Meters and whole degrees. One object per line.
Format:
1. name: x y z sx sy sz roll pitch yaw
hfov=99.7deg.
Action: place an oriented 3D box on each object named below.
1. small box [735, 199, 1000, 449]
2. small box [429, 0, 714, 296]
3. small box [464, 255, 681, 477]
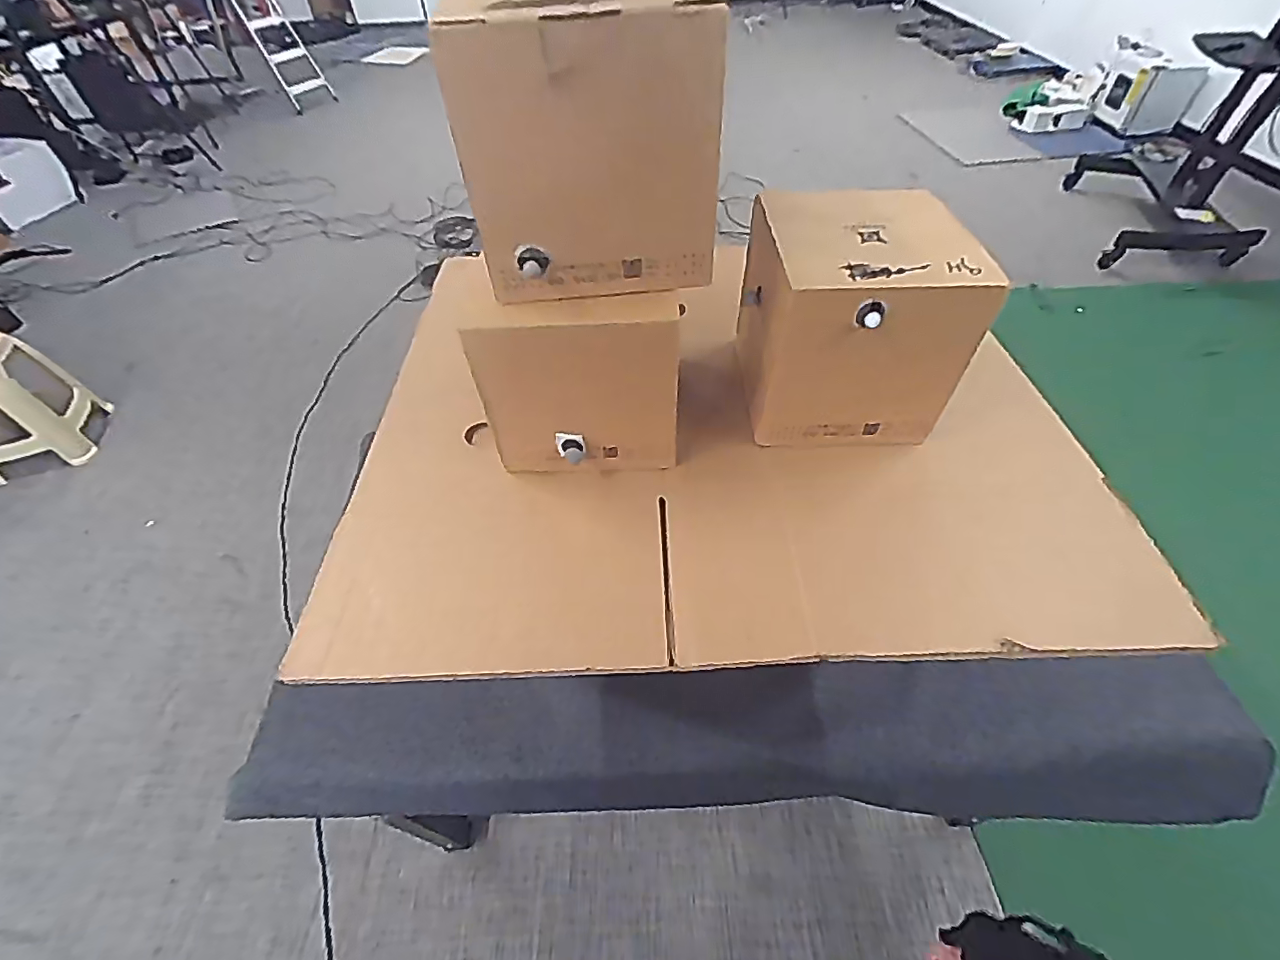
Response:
1. small box: 0.190 -0.149 0.520 0.168 0.176 0.179 -1 49 1
2. small box: -0.039 -0.255 0.414 0.168 0.176 0.179 -5 48 -1
3. small box: -0.050 -0.123 0.518 0.168 0.176 0.179 -3 51 1
